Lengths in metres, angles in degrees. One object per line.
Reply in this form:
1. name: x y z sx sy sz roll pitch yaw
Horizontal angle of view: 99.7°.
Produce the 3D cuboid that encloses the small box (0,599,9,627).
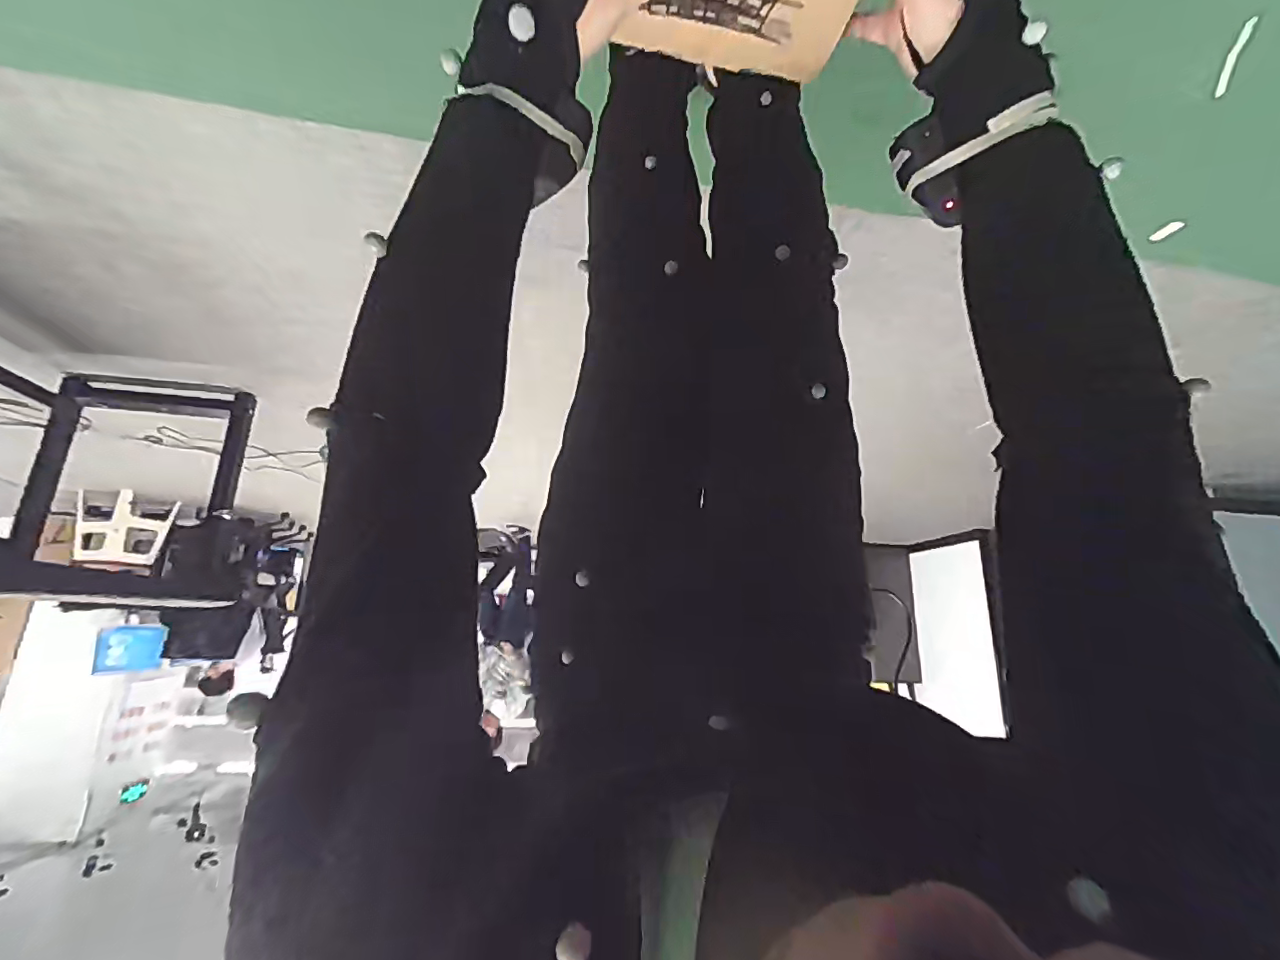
1. small box: -1.480 0.318 1.103 0.179 0.176 0.168 6 164 -11
